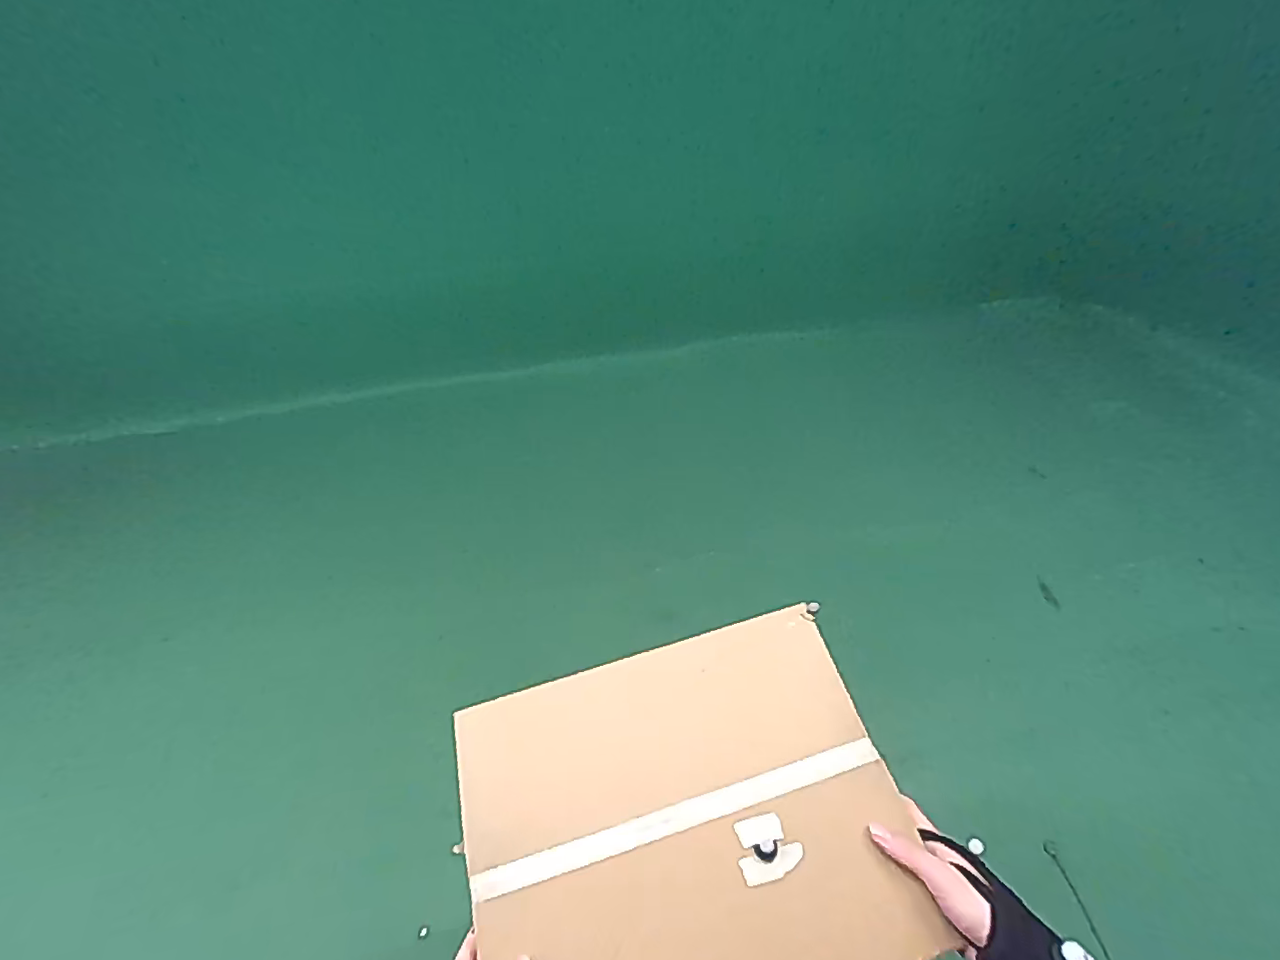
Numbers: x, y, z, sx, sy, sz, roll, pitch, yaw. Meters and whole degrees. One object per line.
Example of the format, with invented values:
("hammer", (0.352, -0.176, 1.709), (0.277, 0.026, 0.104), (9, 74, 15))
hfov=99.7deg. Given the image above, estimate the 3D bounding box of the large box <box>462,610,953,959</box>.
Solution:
("large box", (0.048, 0.407, 0.646), (0.408, 0.320, 0.320), (-16, 59, -7))
